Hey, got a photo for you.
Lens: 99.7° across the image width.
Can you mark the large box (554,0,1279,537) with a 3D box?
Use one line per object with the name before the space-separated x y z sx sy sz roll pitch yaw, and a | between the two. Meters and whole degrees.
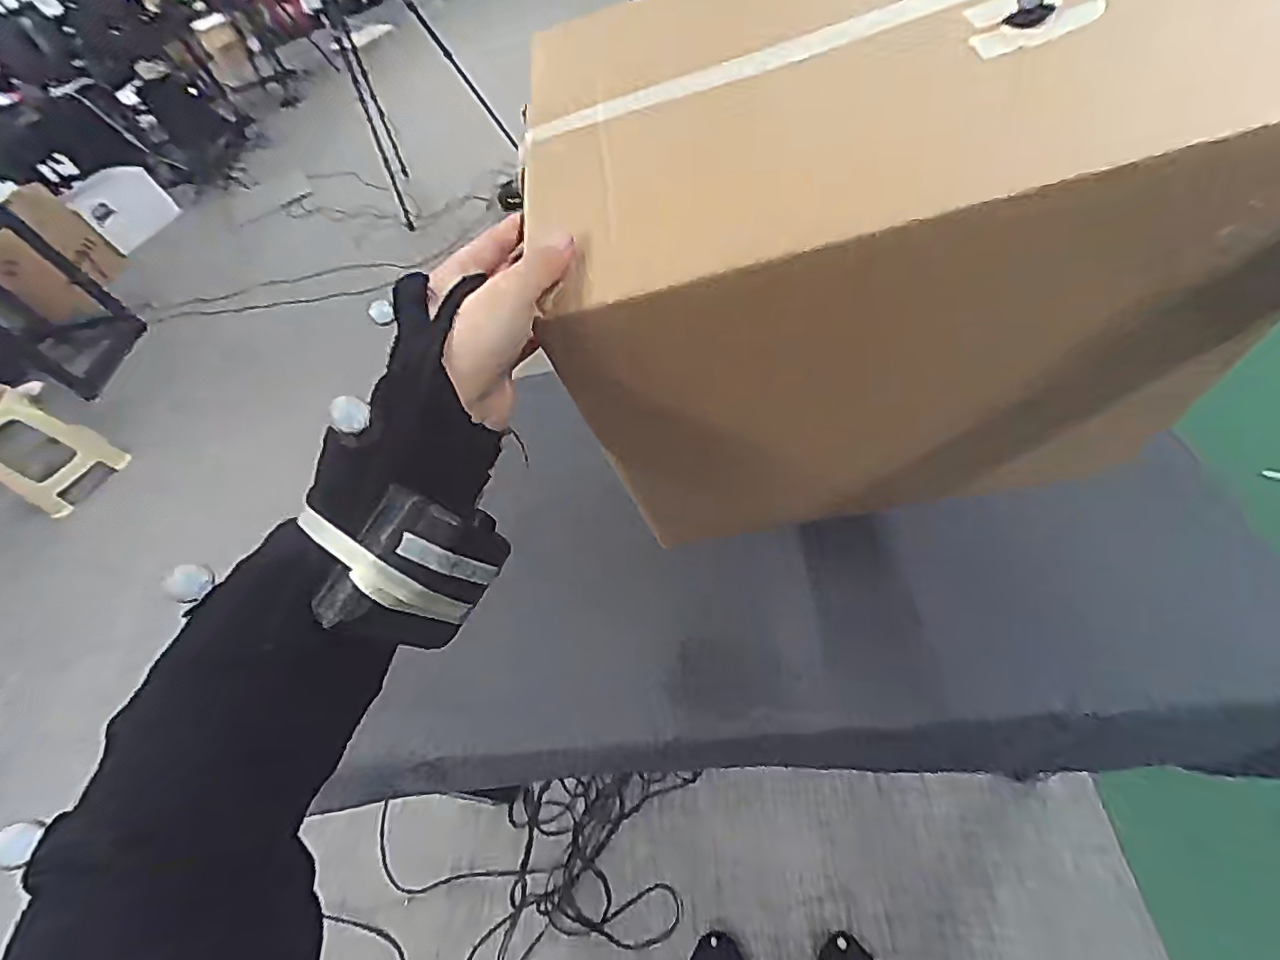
large box | 0.171 -0.179 0.439 0.408 0.320 0.320 -11 60 9
